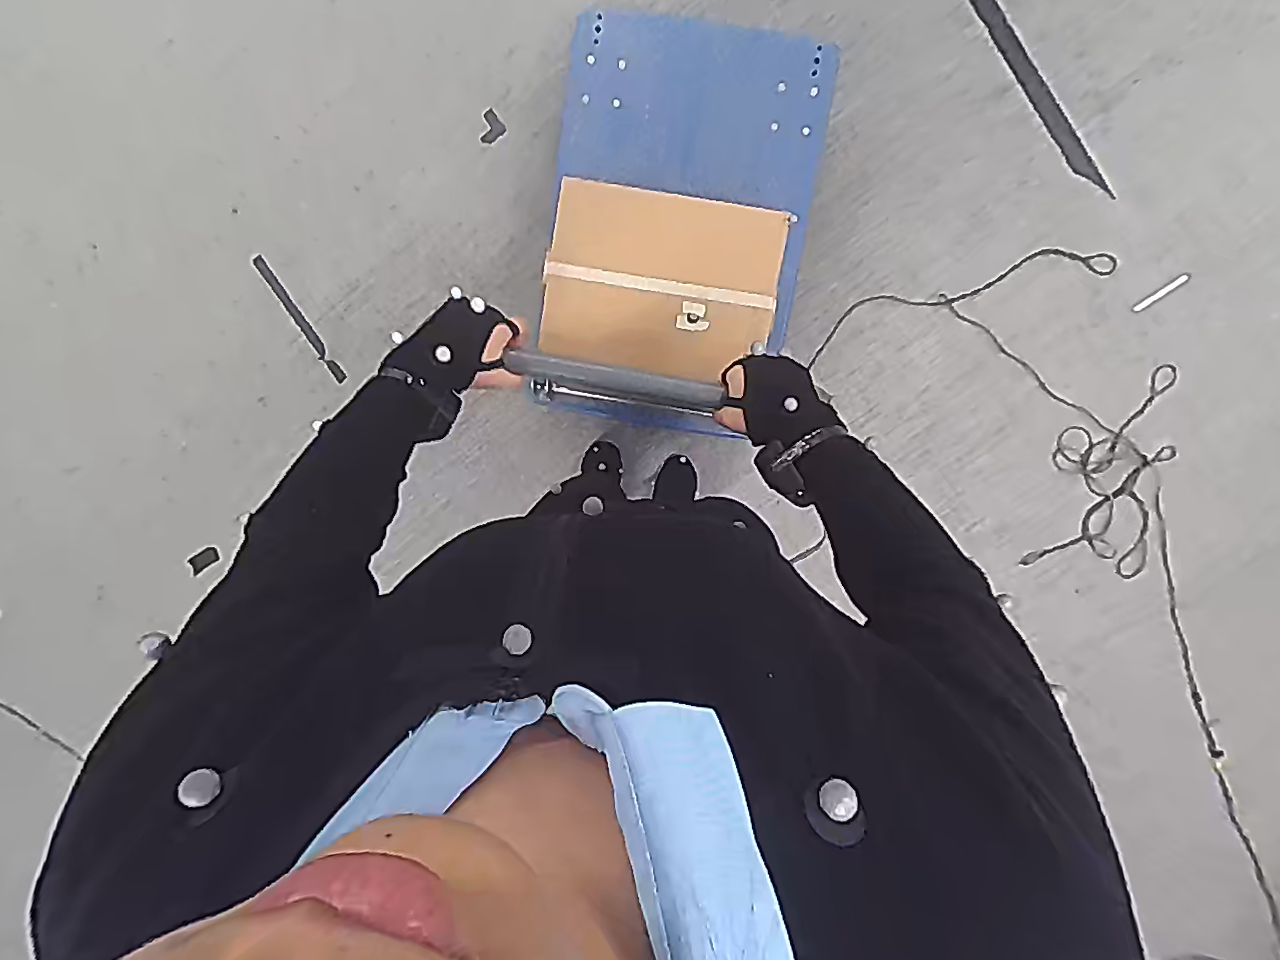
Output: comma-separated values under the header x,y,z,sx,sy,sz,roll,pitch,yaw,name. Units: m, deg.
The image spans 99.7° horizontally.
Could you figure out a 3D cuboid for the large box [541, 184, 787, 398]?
x,y,z,sx,sy,sz,roll,pitch,yaw,name
0.041,-0.356,1.108,0.408,0.320,0.320,10,97,1,large box
